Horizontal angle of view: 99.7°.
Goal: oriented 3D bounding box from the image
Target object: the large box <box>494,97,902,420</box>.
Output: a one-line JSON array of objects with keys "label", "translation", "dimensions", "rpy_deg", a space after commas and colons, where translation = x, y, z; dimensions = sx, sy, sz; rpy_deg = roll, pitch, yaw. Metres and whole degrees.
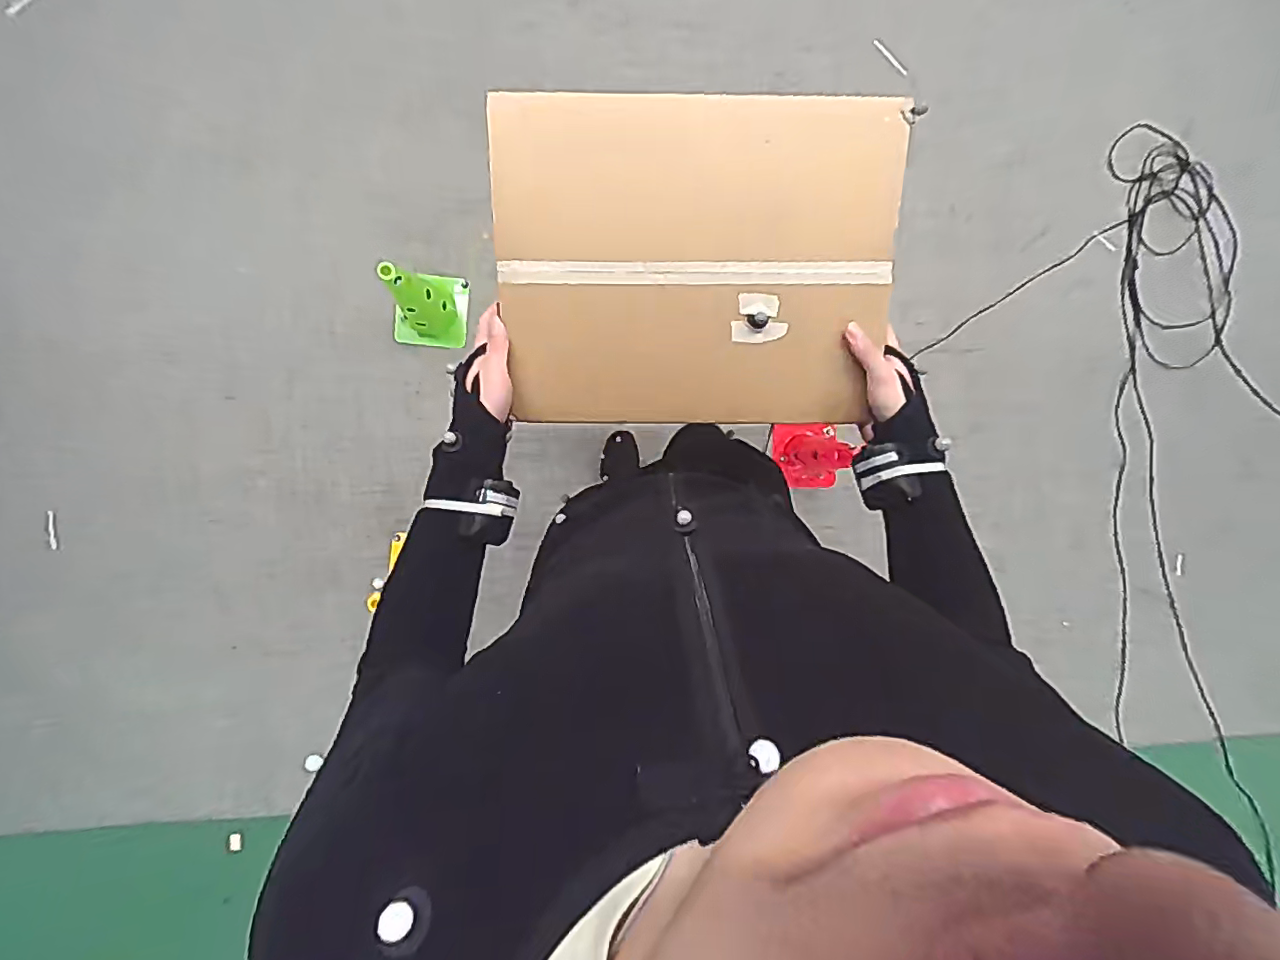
[{"label": "large box", "translation": [0.055, -0.261, 0.704], "dimensions": [0.408, 0.320, 0.320], "rpy_deg": [-1, 107, -1]}]

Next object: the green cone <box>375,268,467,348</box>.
[{"label": "green cone", "translation": [-0.588, -0.472, 1.380], "dimensions": [0.200, 0.368, 0.202], "rpy_deg": [3, 94, -4]}]
